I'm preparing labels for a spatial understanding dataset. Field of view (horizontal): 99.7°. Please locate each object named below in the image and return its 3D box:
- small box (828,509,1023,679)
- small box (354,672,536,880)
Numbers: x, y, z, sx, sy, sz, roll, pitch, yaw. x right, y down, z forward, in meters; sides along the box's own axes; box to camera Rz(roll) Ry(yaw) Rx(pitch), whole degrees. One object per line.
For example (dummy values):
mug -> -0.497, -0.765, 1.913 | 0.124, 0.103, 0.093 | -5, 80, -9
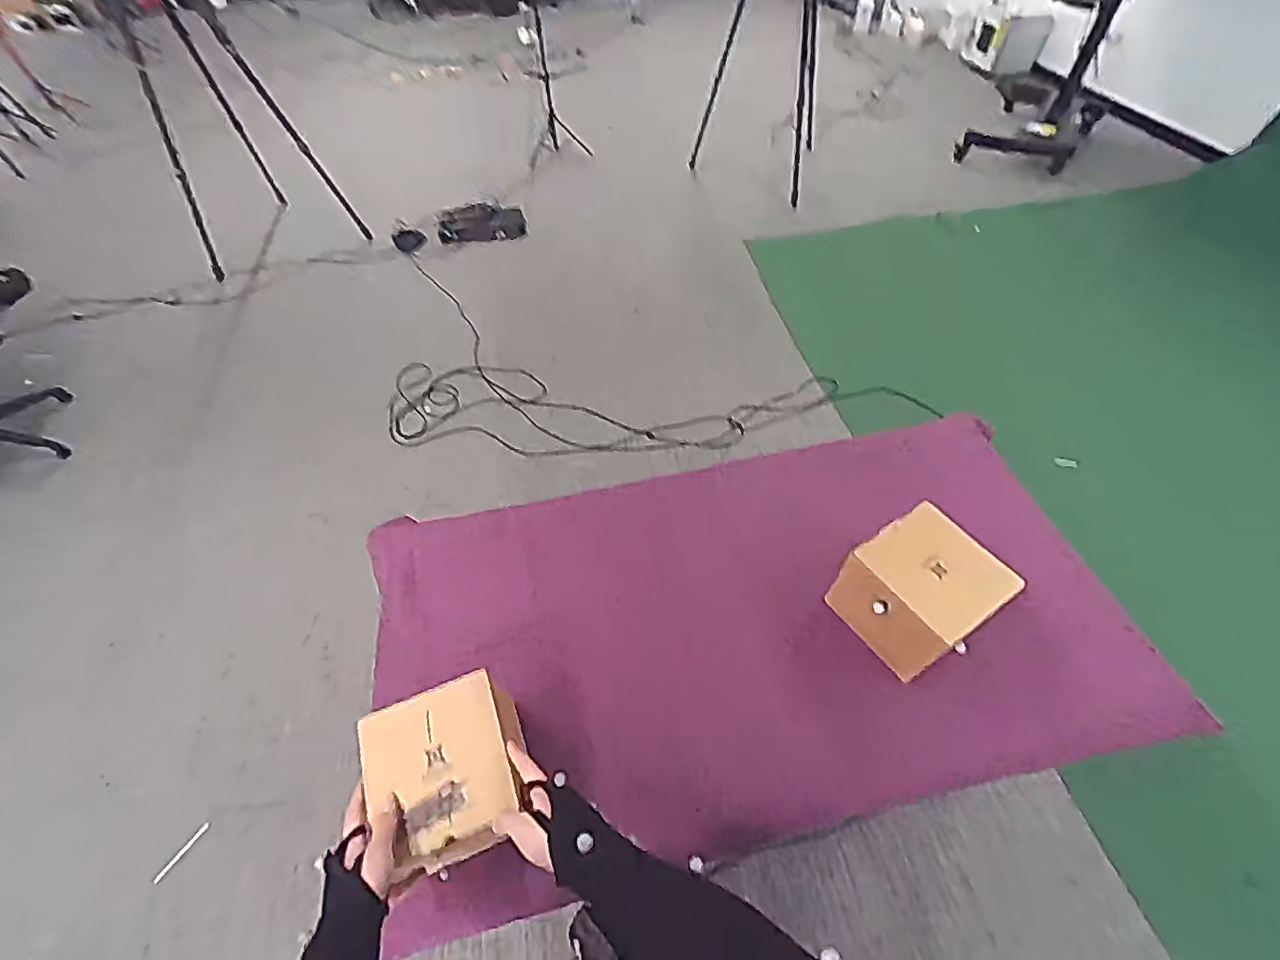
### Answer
small box -> 0.426, 0.184, 0.837 | 0.168, 0.176, 0.179 | -28, 56, -18
small box -> -0.245, 0.384, 0.701 | 0.168, 0.176, 0.179 | -19, 53, -12
